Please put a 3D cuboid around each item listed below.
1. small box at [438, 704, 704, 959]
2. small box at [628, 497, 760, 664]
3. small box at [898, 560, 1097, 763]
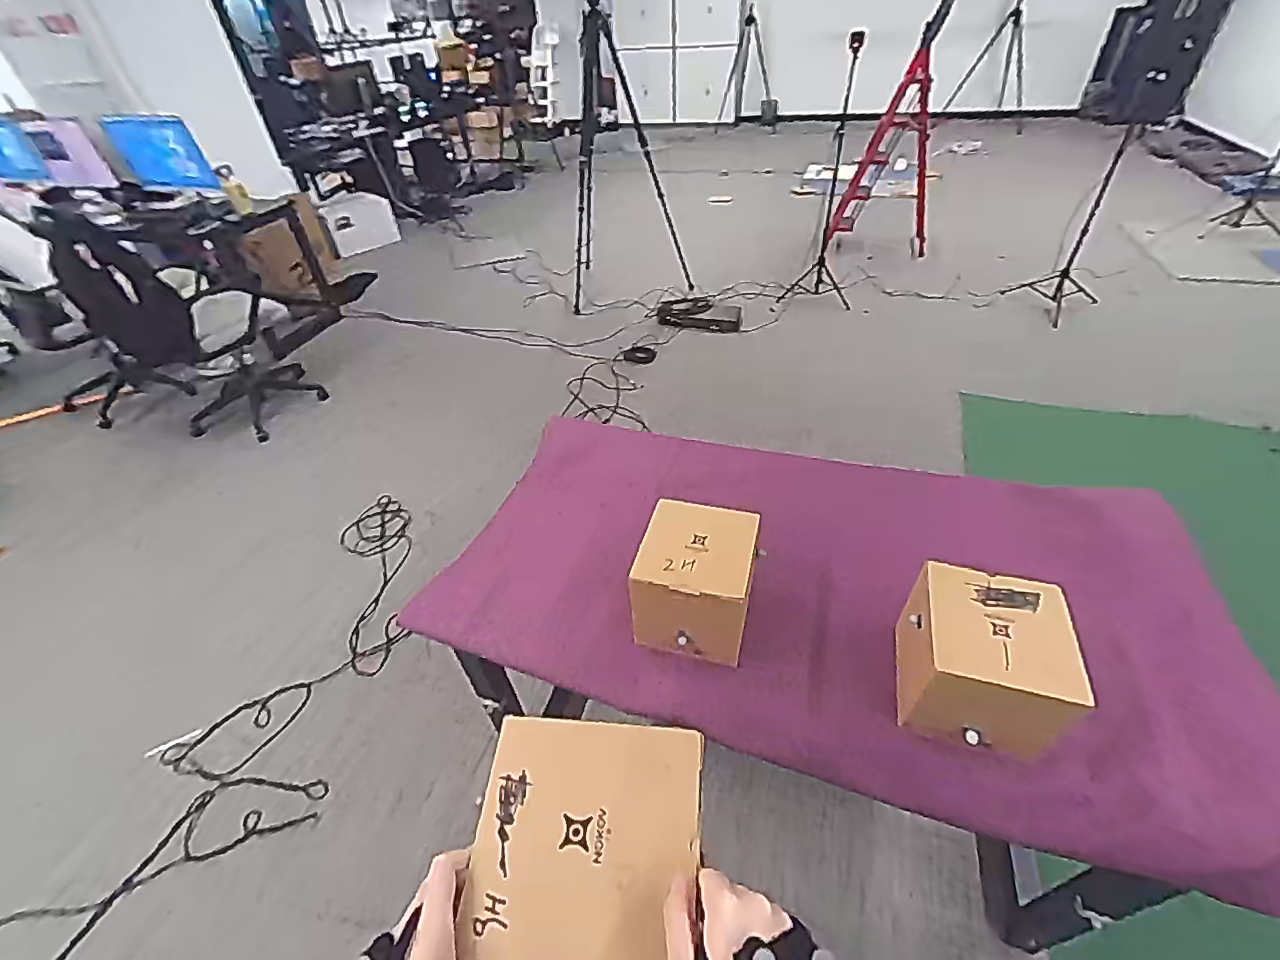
[{"bbox_3d":[-0.039,0.313,0.469,0.179,0.176,0.168,3,49,6],"label":"small box"},{"bbox_3d":[0.088,0.155,0.848,0.168,0.176,0.179,8,42,15],"label":"small box"},{"bbox_3d":[0.453,0.239,0.722,0.168,0.176,0.179,9,43,16],"label":"small box"}]
